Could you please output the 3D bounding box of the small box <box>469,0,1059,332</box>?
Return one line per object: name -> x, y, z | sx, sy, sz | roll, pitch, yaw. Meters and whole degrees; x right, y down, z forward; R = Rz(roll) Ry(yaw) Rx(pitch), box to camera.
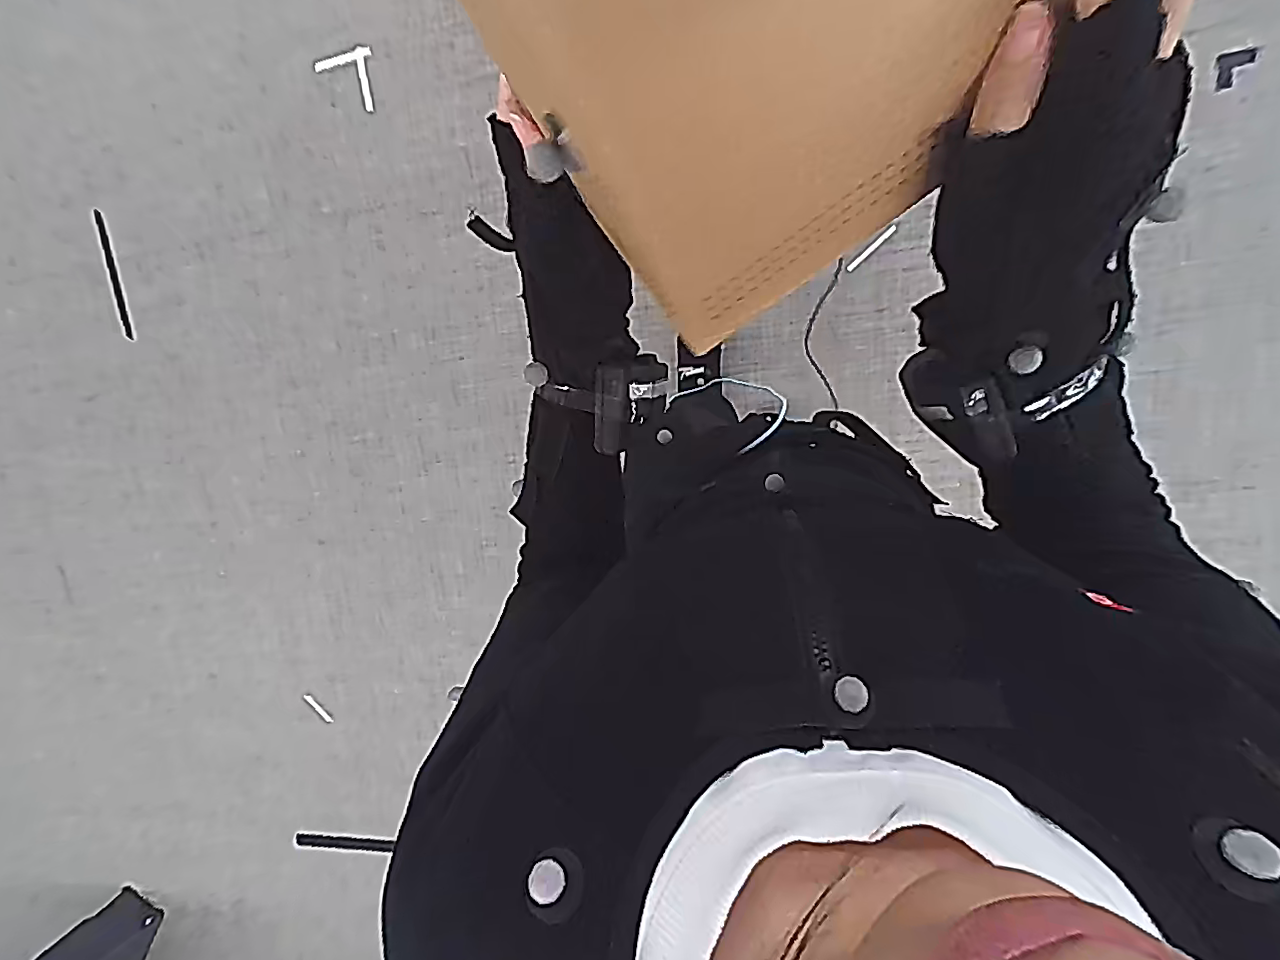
small box -> 0.037, -0.193, 0.204 | 0.179, 0.176, 0.168 | -35, 63, 6
